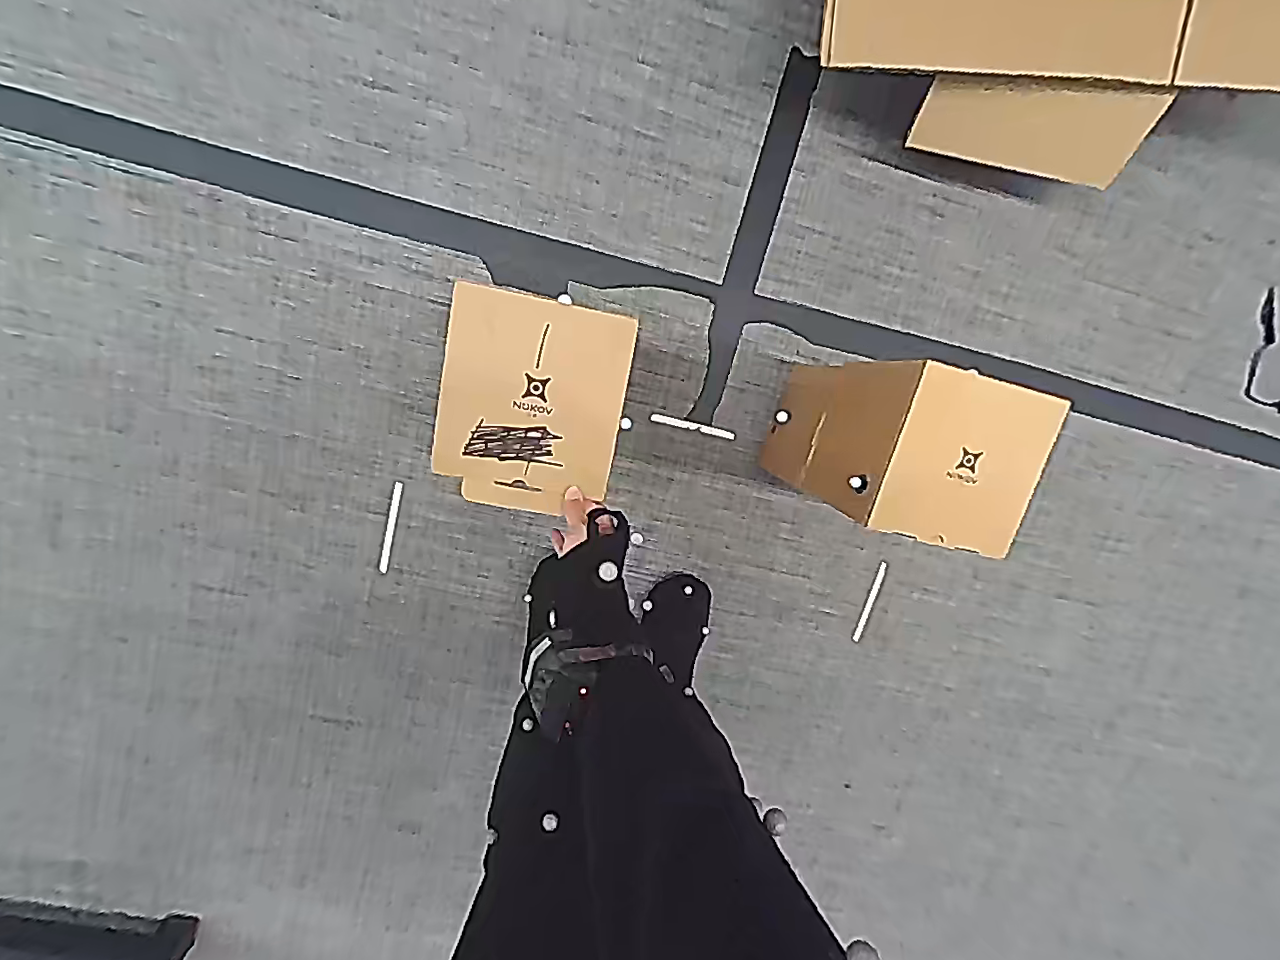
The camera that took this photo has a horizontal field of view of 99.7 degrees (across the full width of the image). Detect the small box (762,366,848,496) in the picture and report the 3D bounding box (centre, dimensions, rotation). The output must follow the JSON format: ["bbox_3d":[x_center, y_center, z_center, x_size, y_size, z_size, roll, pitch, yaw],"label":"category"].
[{"bbox_3d":[0.304,-0.062,0.778,0.179,0.176,0.168,18,101,-10],"label":"small box"}]

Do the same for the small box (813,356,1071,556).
[{"bbox_3d":[0.323,-0.037,0.618,0.168,0.176,0.179,13,102,-9],"label":"small box"}]

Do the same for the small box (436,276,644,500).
[{"bbox_3d":[-0.098,-0.094,0.565,0.168,0.176,0.179,10,101,-8],"label":"small box"}]
